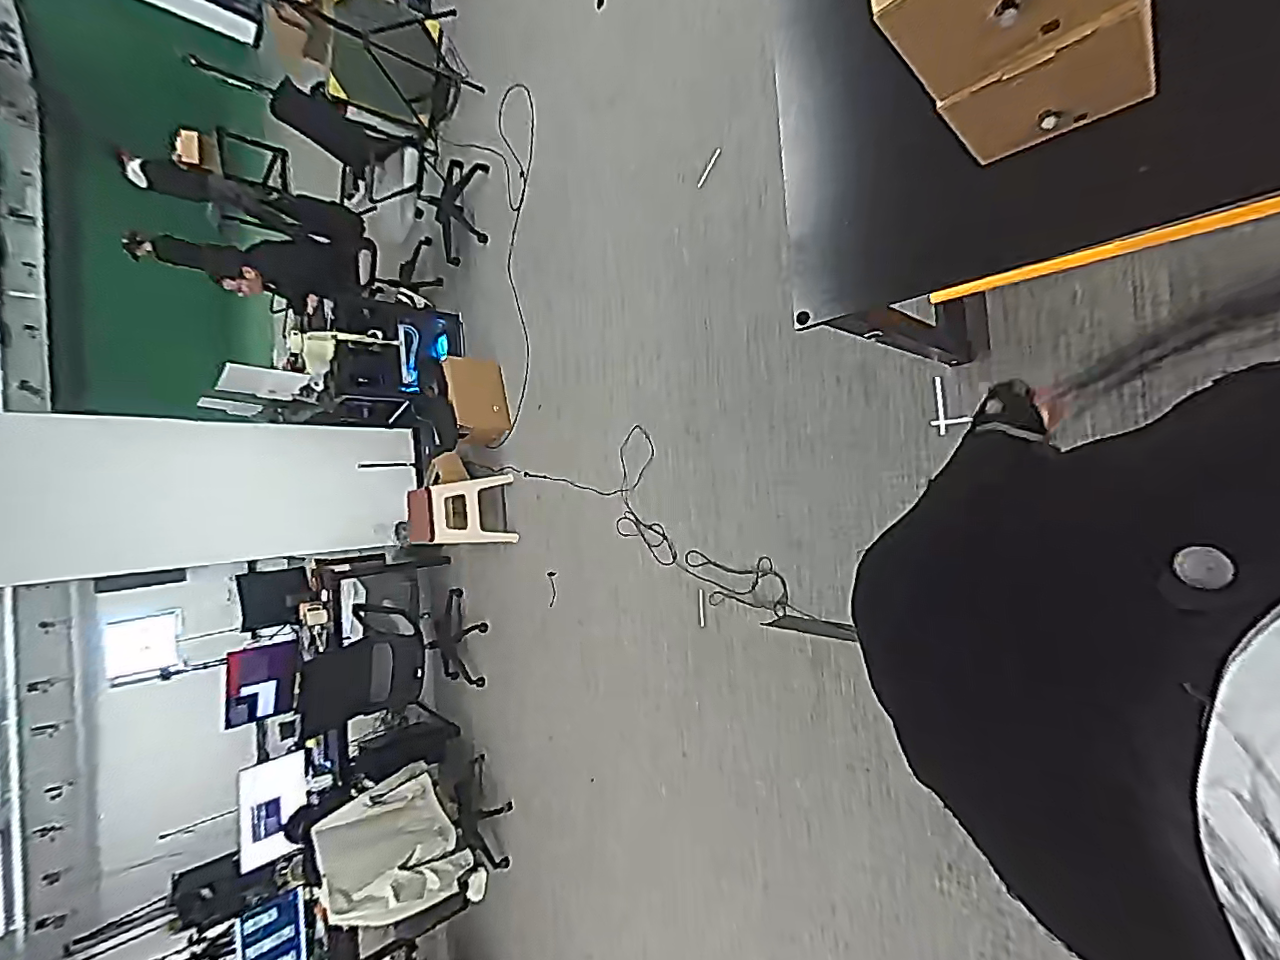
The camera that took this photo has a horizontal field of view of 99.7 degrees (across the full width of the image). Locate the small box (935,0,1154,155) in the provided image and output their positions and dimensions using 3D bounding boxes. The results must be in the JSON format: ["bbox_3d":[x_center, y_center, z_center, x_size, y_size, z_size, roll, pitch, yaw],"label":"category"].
[{"bbox_3d":[0.434,-0.498,0.584,0.168,0.176,0.179,-3,90,48],"label":"small box"}]

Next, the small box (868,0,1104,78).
[{"bbox_3d":[0.311,-0.502,0.475,0.168,0.176,0.179,-7,87,48],"label":"small box"}]
